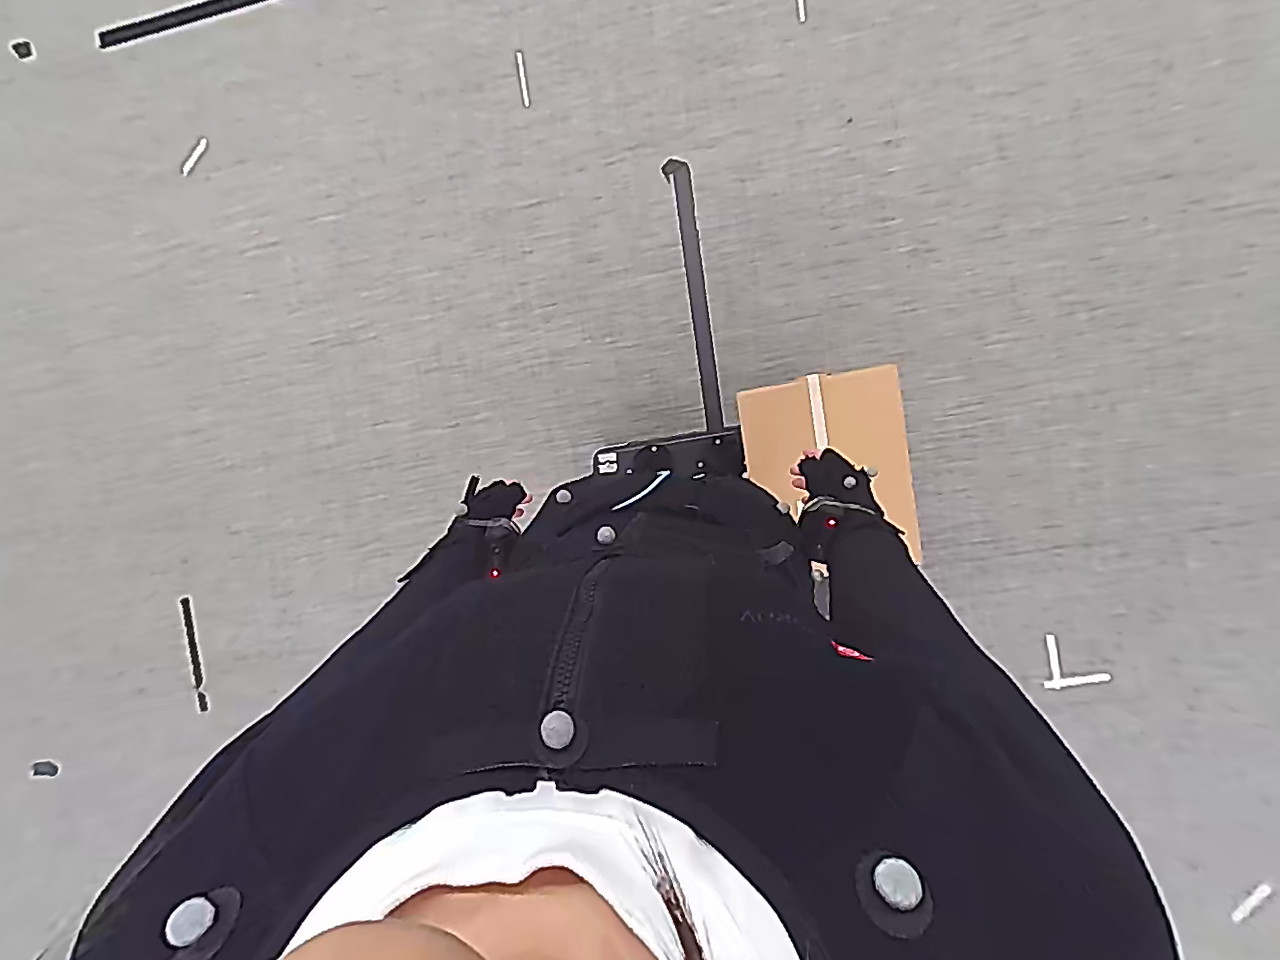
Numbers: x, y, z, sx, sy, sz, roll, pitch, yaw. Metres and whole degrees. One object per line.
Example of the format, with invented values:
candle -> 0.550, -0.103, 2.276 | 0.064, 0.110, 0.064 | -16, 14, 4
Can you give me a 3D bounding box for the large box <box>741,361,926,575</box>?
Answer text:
large box -> 0.422, -0.033, 1.239 | 0.320, 0.320, 0.408 | -8, 95, 15
